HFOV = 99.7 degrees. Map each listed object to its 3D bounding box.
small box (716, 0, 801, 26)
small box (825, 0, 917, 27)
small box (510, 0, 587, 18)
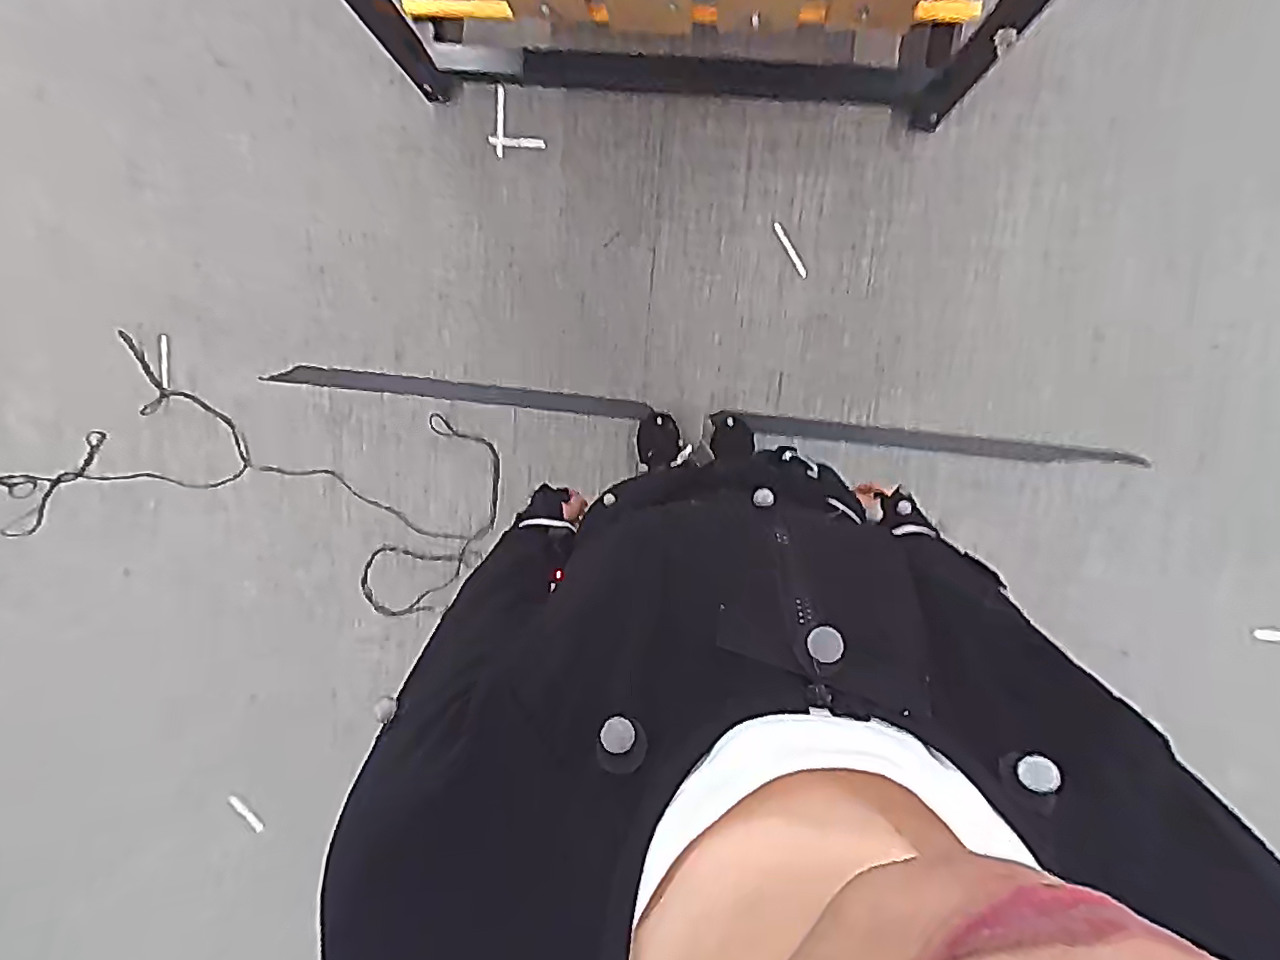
[{"bbox_3d":[0.235,-1.010,1.020,0.168,0.176,0.179,4,102,4],"label":"small box"},{"bbox_3d":[0.454,-0.997,1.002,0.168,0.176,0.179,7,101,4],"label":"small box"},{"bbox_3d":[-0.190,-1.049,1.041,0.168,0.176,0.179,6,101,3],"label":"small box"}]
